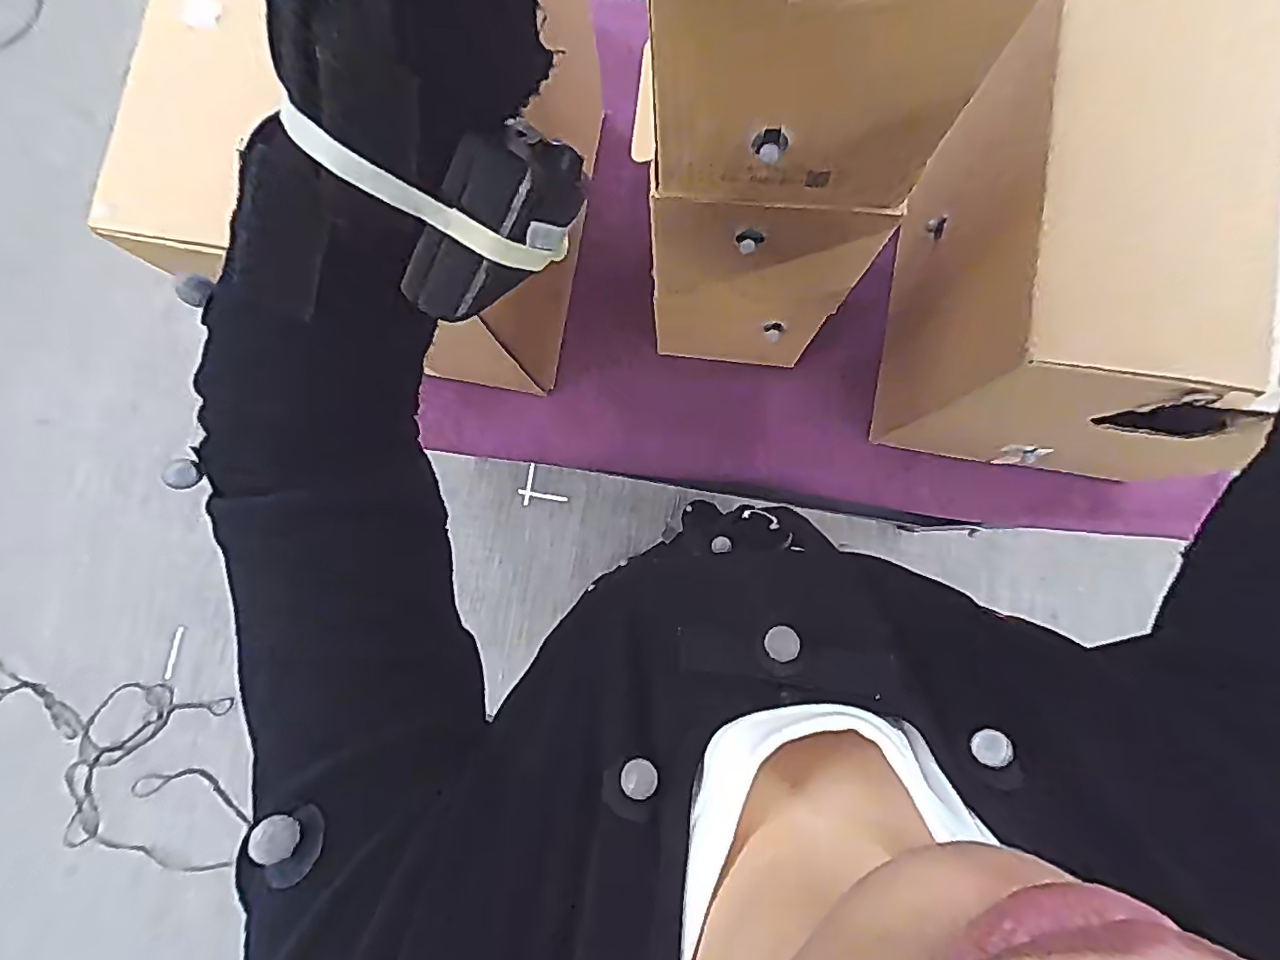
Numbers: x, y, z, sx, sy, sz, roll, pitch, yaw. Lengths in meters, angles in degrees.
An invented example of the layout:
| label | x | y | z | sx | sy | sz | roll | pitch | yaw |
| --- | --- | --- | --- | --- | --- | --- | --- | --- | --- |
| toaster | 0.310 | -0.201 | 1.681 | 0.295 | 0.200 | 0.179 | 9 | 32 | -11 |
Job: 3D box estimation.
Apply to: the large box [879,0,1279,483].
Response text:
| label | x | y | z | sx | sy | sz | roll | pitch | yaw |
| --- | --- | --- | --- | --- | --- | --- | --- | --- | --- |
| large box | 0.455 | -0.228 | 0.521 | 0.320 | 0.320 | 0.408 | 9 | 84 | 4 |

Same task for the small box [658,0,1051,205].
| label | x | y | z | sx | sy | sz | roll | pitch | yaw |
| --- | --- | --- | --- | --- | --- | --- | --- | --- | --- |
| small box | 0.098 | -0.282 | 0.289 | 0.168 | 0.176 | 0.179 | 5 | 85 | 4 |
